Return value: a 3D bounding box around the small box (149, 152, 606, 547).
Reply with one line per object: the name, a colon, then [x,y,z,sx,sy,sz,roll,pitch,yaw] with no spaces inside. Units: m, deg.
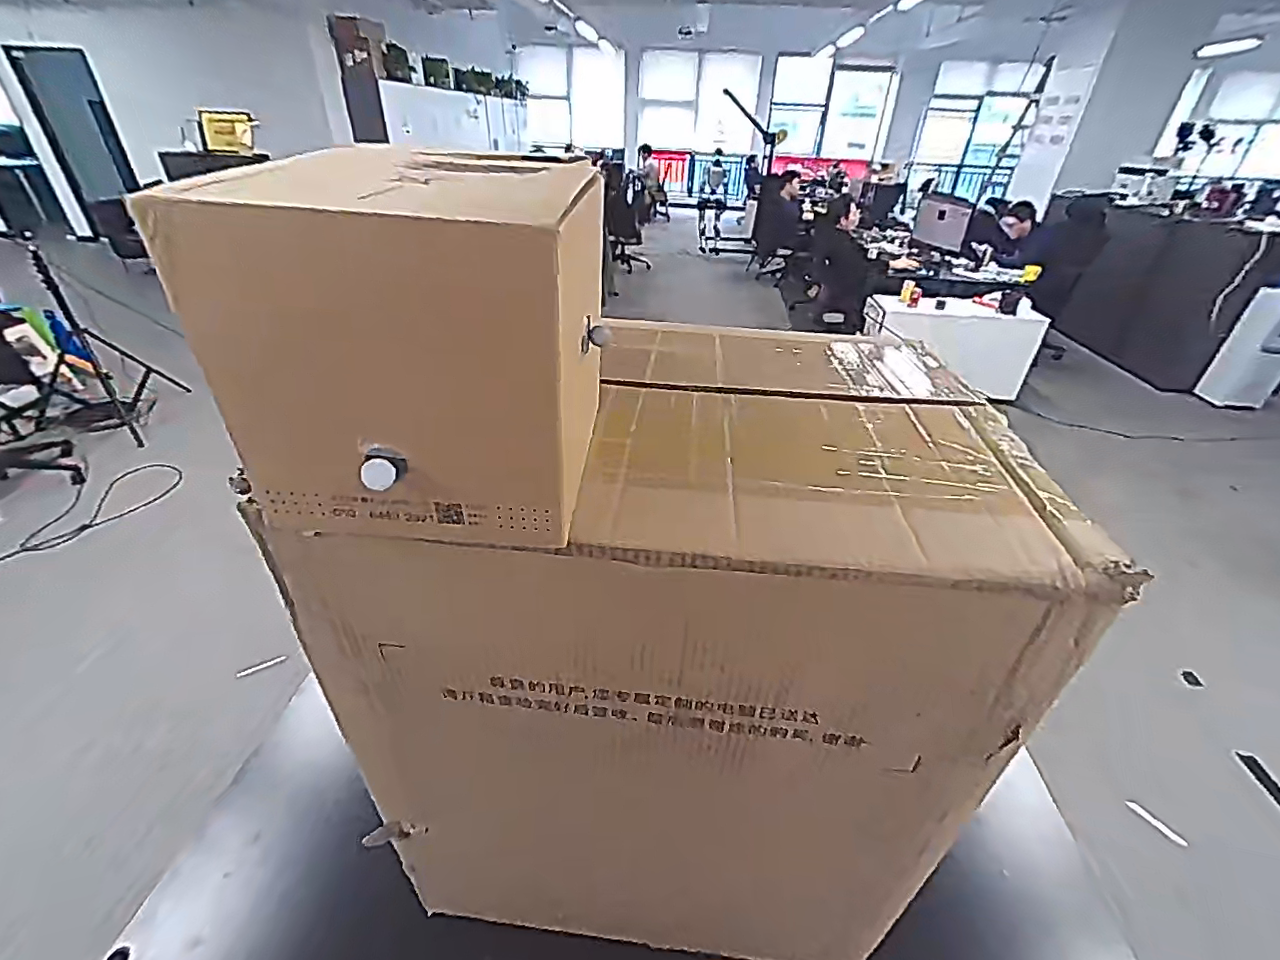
small box: [-0.112,-0.084,0.322,0.168,0.176,0.179,4,36,0]
